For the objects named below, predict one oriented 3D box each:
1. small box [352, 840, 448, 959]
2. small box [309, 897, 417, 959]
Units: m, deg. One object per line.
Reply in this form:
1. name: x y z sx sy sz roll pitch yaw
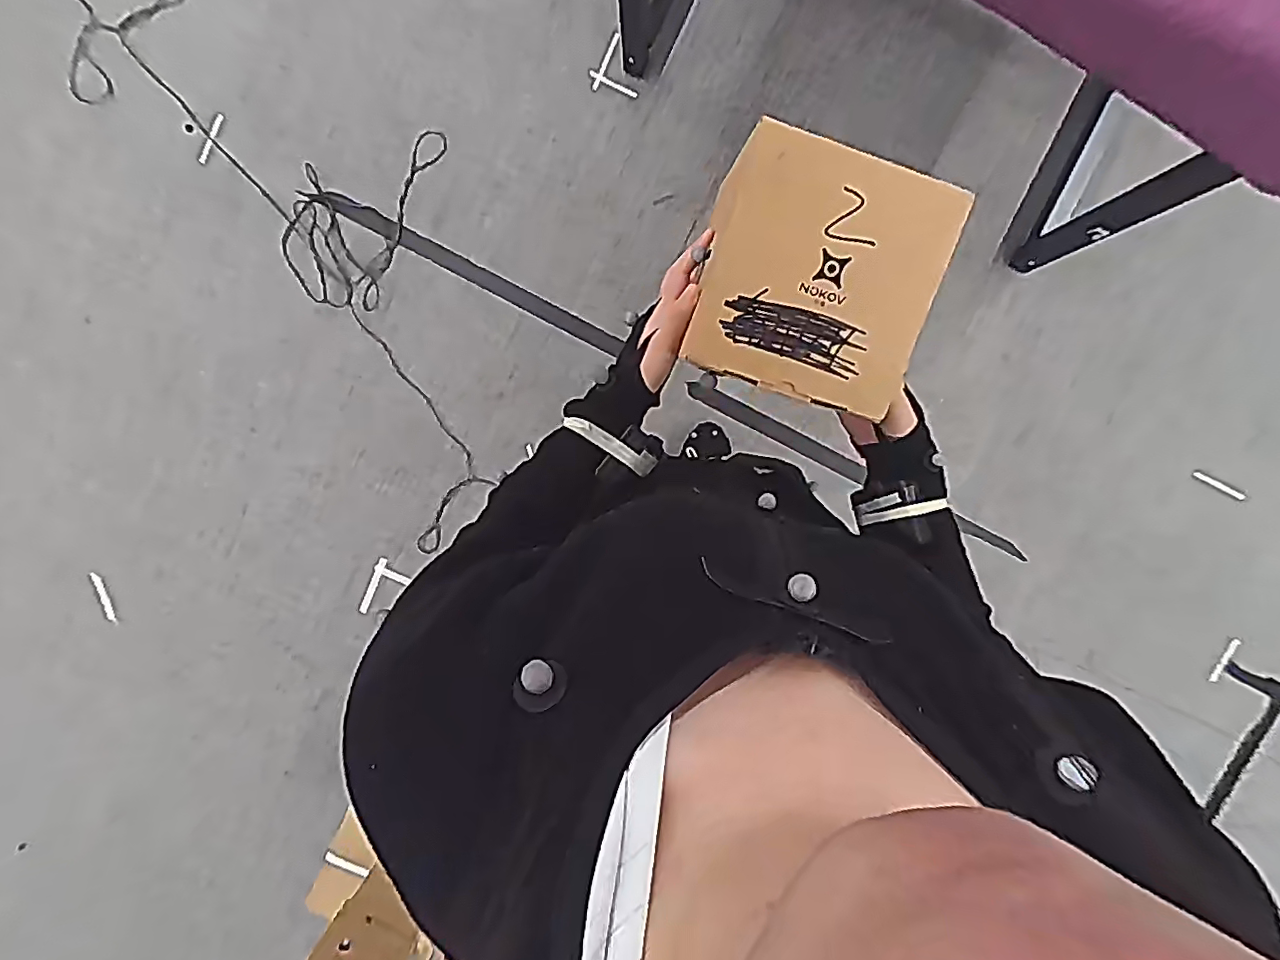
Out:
1. small box: -0.558 0.968 1.214 0.168 0.176 0.179 24 94 -1
2. small box: -0.563 0.974 1.052 0.168 0.176 0.179 22 95 0
